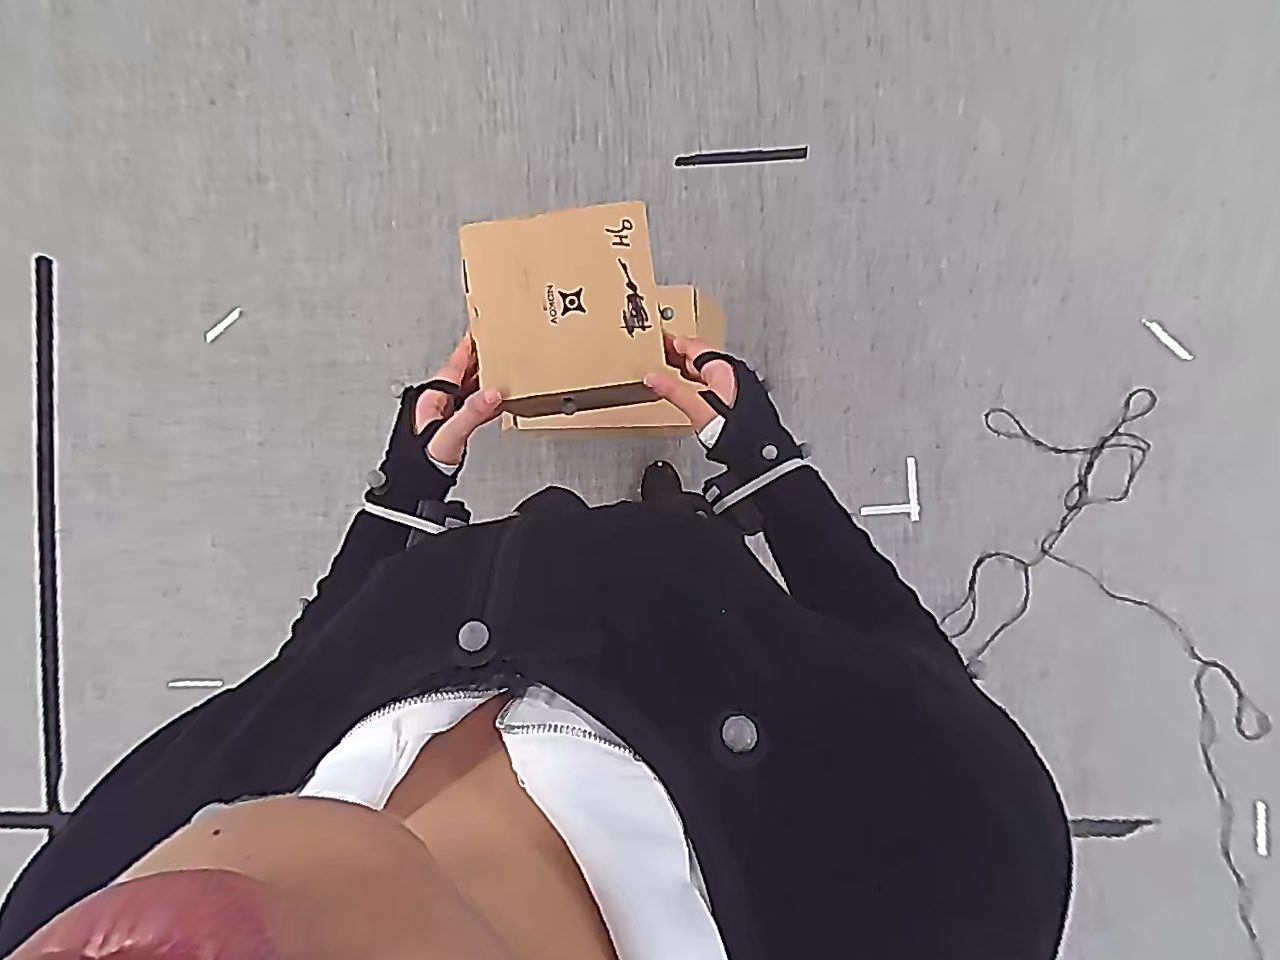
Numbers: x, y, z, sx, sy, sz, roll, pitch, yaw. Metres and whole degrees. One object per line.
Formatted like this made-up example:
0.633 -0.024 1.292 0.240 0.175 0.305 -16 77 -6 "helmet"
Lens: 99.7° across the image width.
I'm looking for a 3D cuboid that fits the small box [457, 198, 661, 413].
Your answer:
-0.072 -0.169 0.579 0.179 0.176 0.168 -8 91 1 "small box"
